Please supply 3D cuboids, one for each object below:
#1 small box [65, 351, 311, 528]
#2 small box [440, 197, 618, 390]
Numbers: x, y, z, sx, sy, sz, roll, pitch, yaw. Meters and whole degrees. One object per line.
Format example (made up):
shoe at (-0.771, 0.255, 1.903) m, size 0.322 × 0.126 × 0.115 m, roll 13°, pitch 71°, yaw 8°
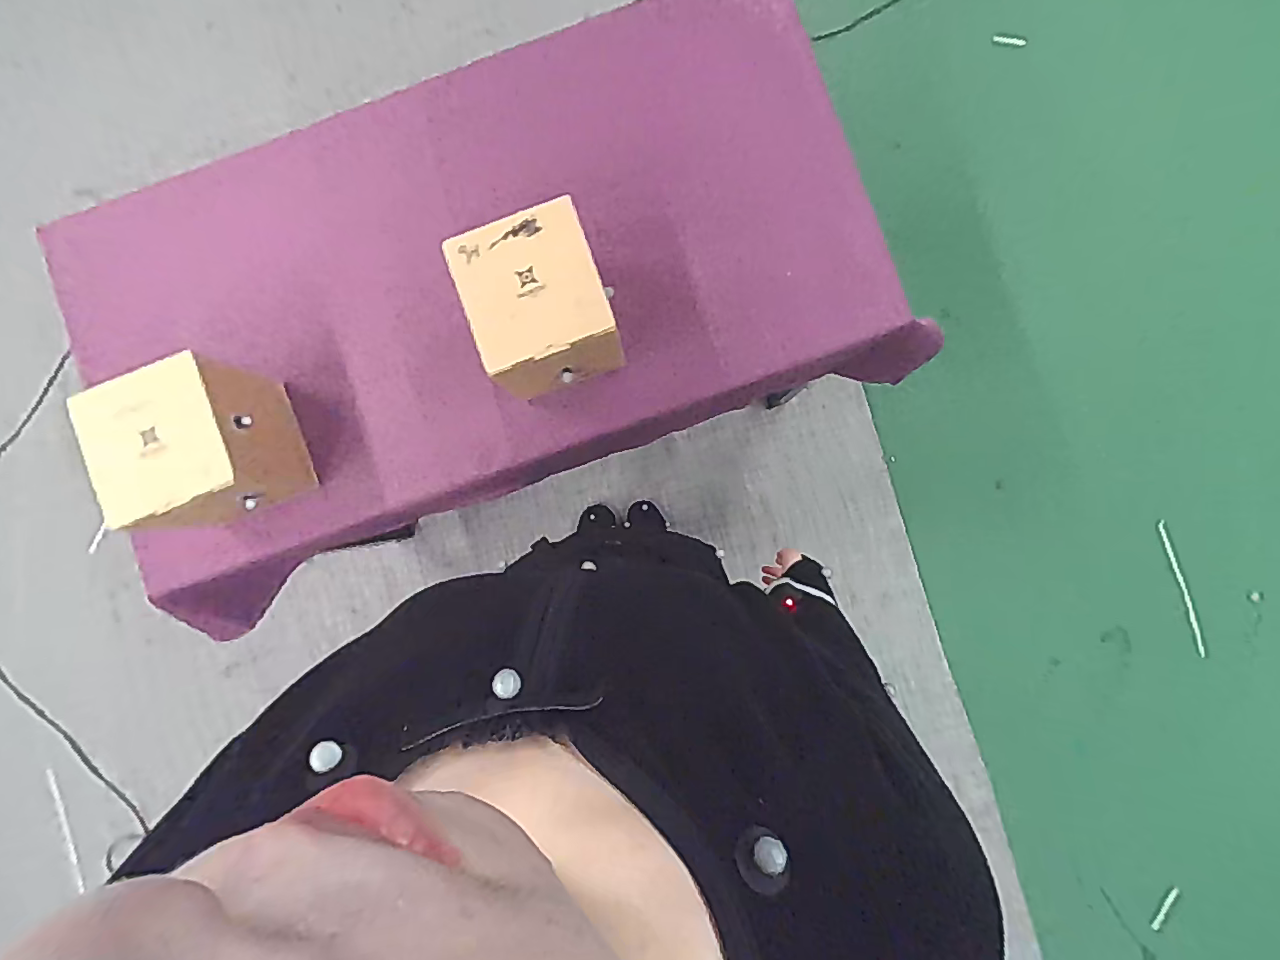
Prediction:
small box at (-0.588, -0.047, 0.729) m, size 0.168 × 0.176 × 0.179 m, roll -21°, pitch 87°, yaw 0°
small box at (-0.134, -0.230, 0.723) m, size 0.168 × 0.176 × 0.179 m, roll -19°, pitch 88°, yaw 1°
